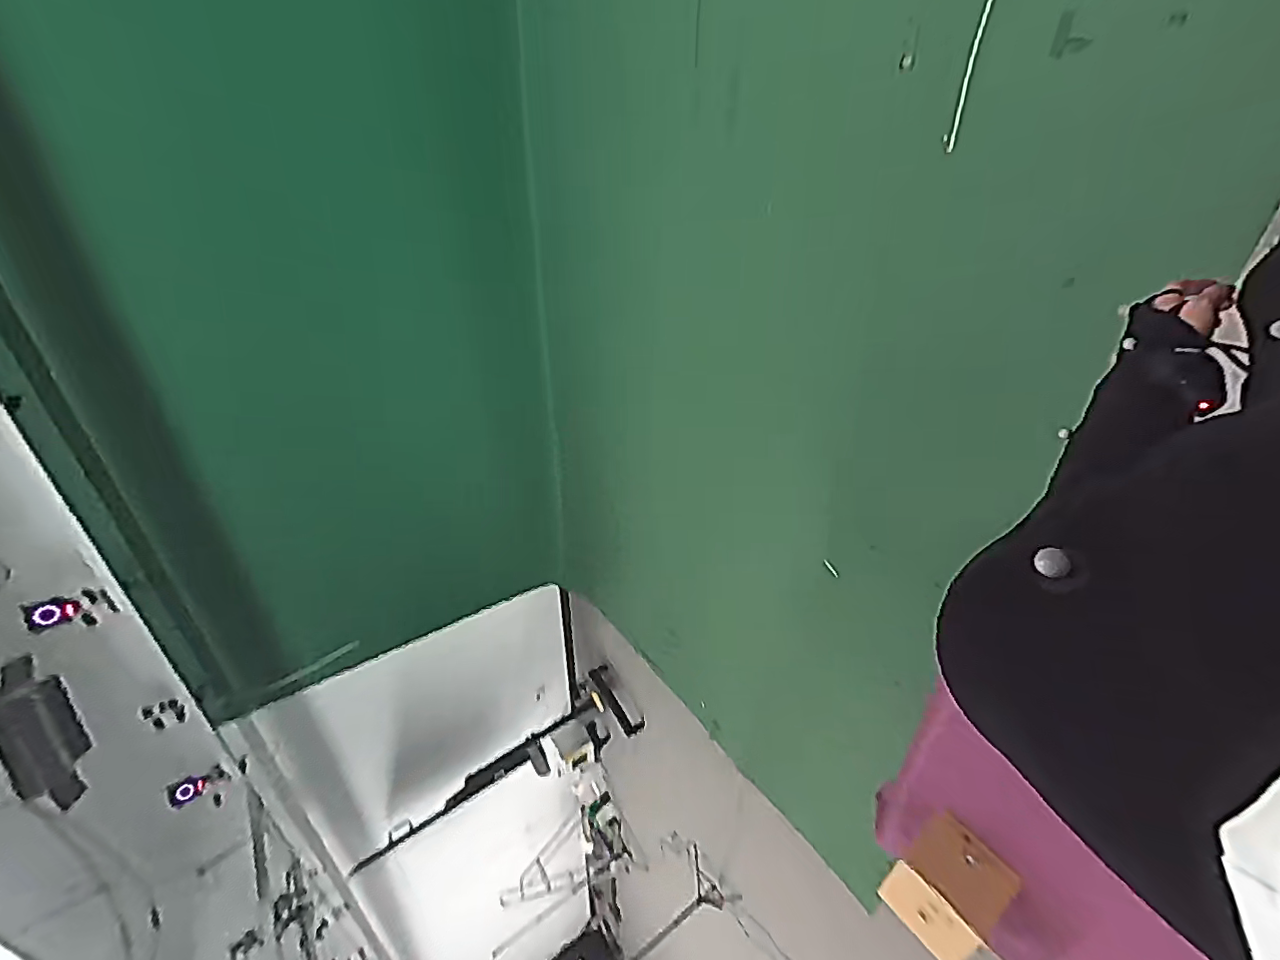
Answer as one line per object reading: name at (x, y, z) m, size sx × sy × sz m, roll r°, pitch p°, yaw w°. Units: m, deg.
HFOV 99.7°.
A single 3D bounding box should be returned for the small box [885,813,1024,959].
small box at (0.650, 0.845, 1.120) m, size 0.168 × 0.176 × 0.179 m, roll 38°, pitch 137°, yaw 41°
